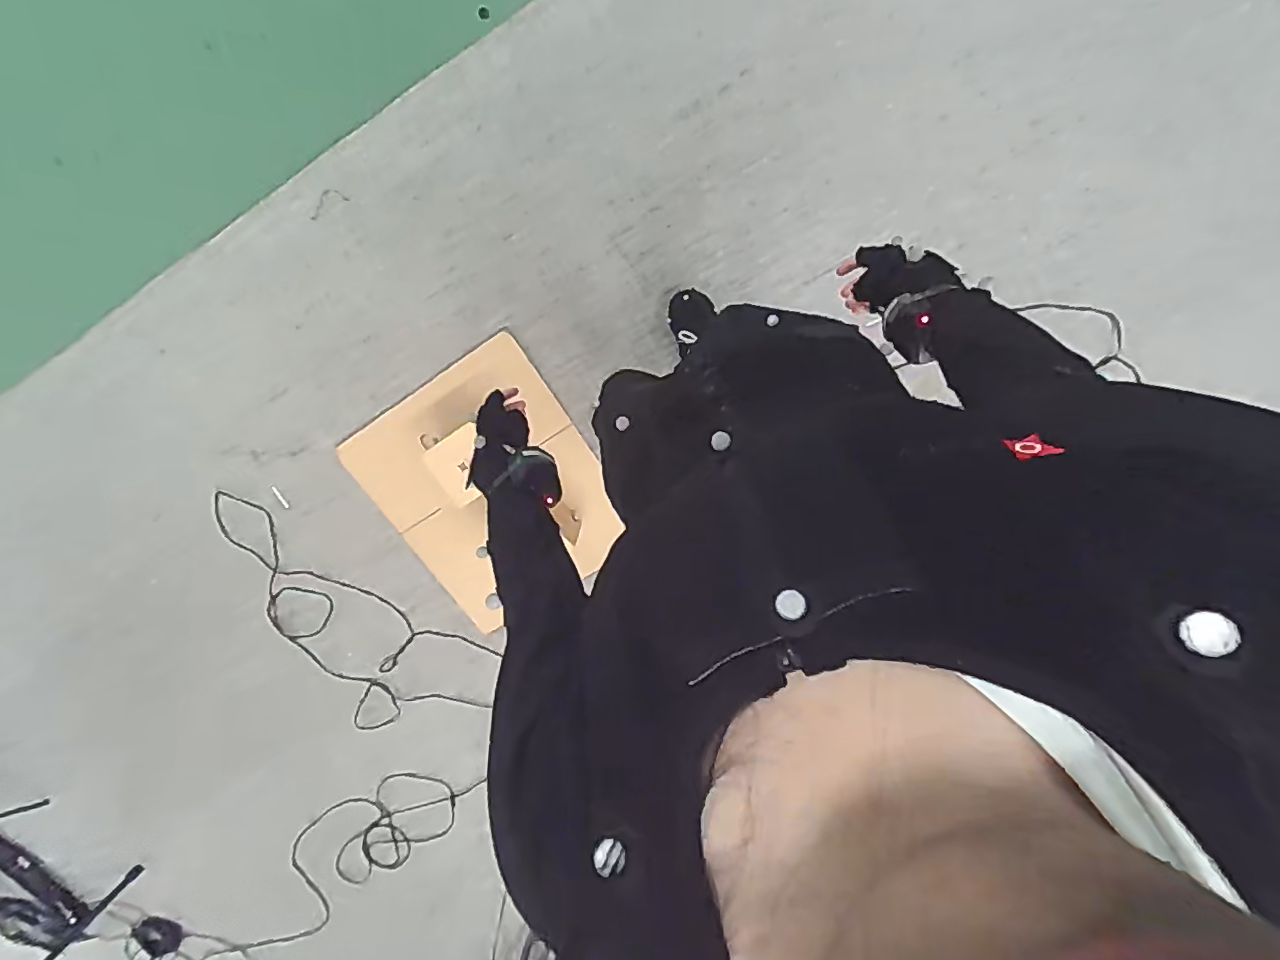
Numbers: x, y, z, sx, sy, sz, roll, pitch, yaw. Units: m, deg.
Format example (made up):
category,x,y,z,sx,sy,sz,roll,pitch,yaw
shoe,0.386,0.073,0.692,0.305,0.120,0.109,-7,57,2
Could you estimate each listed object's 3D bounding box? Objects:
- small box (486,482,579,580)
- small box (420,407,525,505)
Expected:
category,x,y,z,sx,sy,sz,roll,pitch,yaw
small box,-0.278,0.130,1.457,0.179,0.176,0.168,-36,104,12
small box,-0.423,-0.068,1.398,0.179,0.176,0.168,-31,106,10
